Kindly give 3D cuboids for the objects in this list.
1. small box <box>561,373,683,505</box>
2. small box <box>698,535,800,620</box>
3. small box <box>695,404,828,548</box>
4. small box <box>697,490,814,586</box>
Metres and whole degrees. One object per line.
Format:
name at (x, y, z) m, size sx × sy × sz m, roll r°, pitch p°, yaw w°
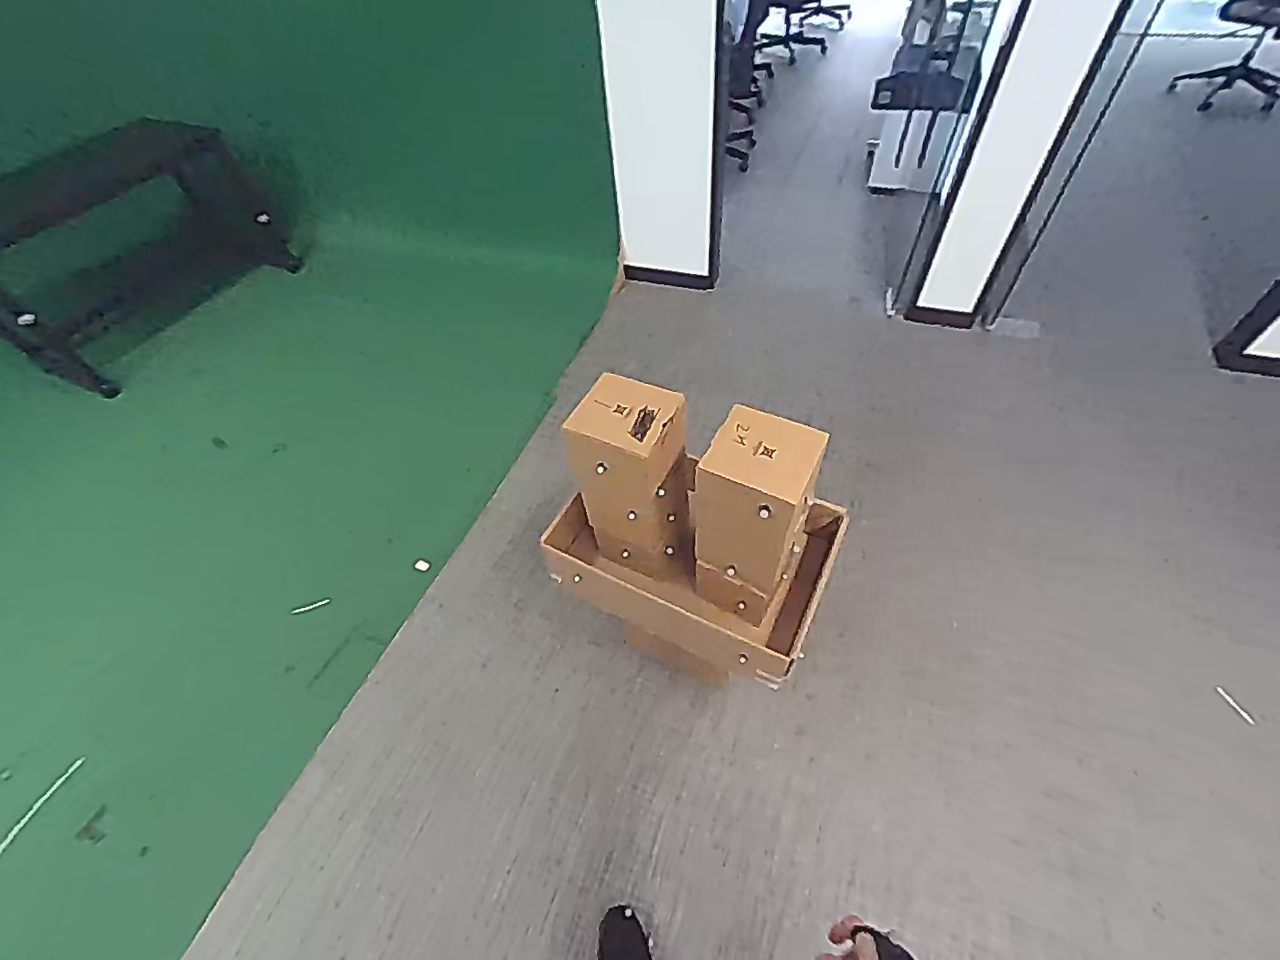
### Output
small box at (-0.024, -0.075, 1.056) m, size 0.179 × 0.176 × 0.168 m, roll 20°, pitch 58°, yaw 20°
small box at (0.247, 0.190, 1.234) m, size 0.168 × 0.176 × 0.179 m, roll 25°, pitch 60°, yaw 23°
small box at (0.212, -0.002, 0.970) m, size 0.179 × 0.176 × 0.168 m, roll 22°, pitch 59°, yaw 21°
small box at (0.230, 0.093, 1.105) m, size 0.179 × 0.176 × 0.168 m, roll 25°, pitch 60°, yaw 22°
